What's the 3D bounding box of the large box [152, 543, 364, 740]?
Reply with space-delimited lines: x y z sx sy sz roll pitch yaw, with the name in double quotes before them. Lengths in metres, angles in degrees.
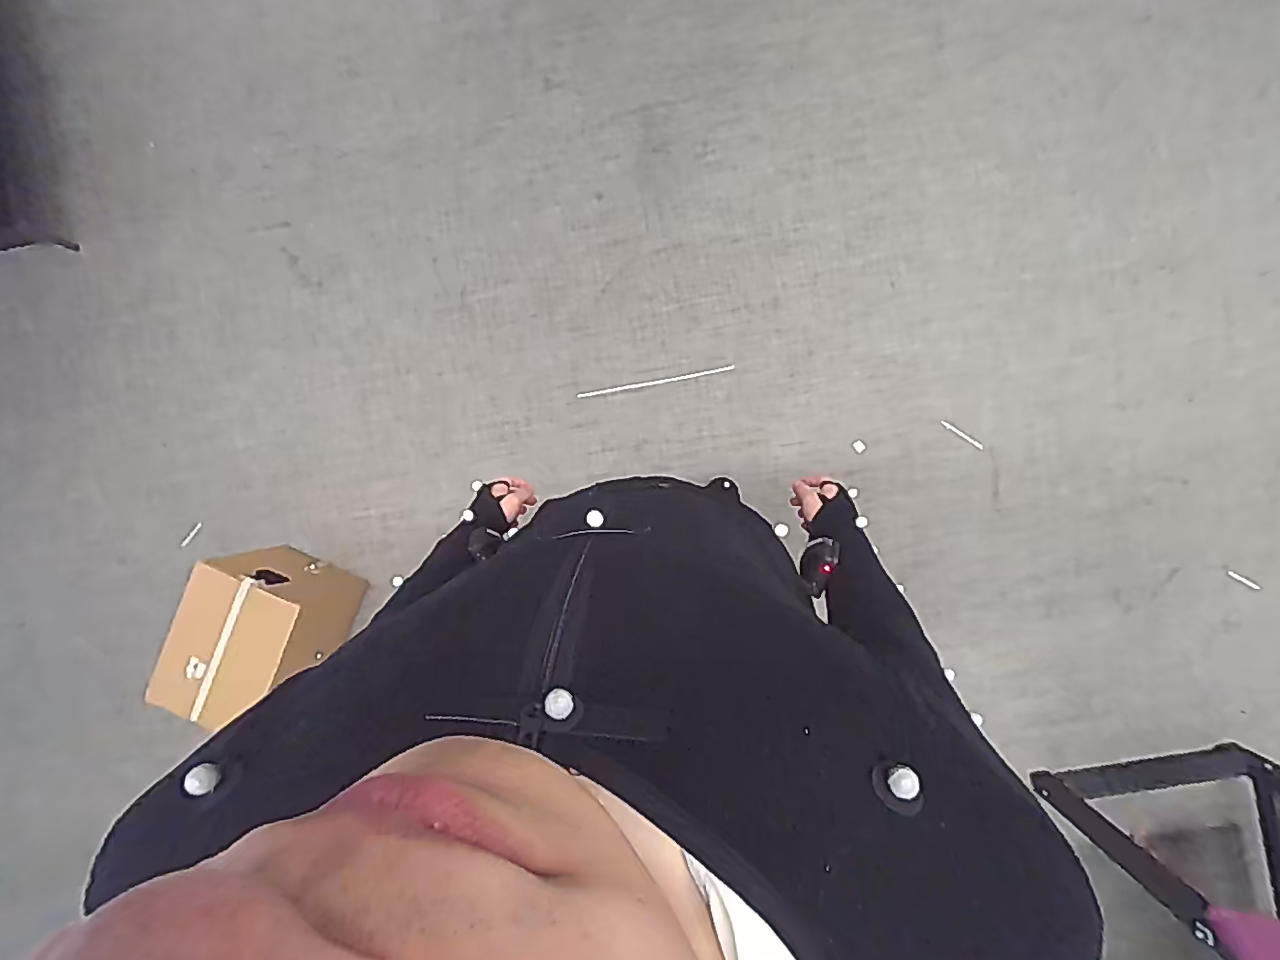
"large box" -1.076 0.439 1.563 0.320 0.320 0.408 22 93 4
